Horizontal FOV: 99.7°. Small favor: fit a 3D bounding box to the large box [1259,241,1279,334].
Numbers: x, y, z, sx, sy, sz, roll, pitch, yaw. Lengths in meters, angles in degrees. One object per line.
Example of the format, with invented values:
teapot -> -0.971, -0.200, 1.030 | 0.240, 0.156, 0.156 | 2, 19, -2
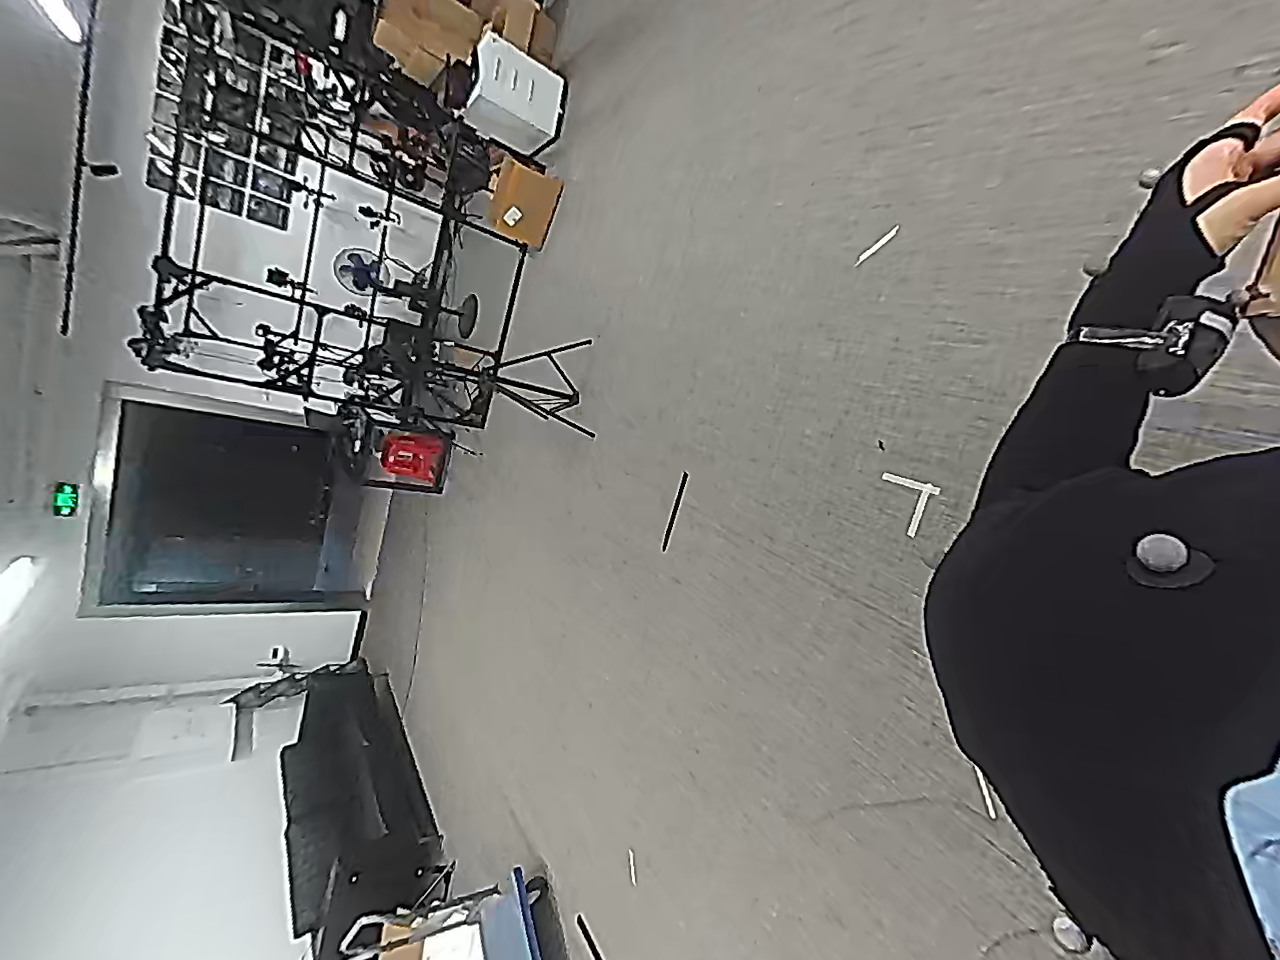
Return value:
large box -> 0.712, -0.224, 0.300 | 0.408, 0.320, 0.320 | 23, 107, 53
